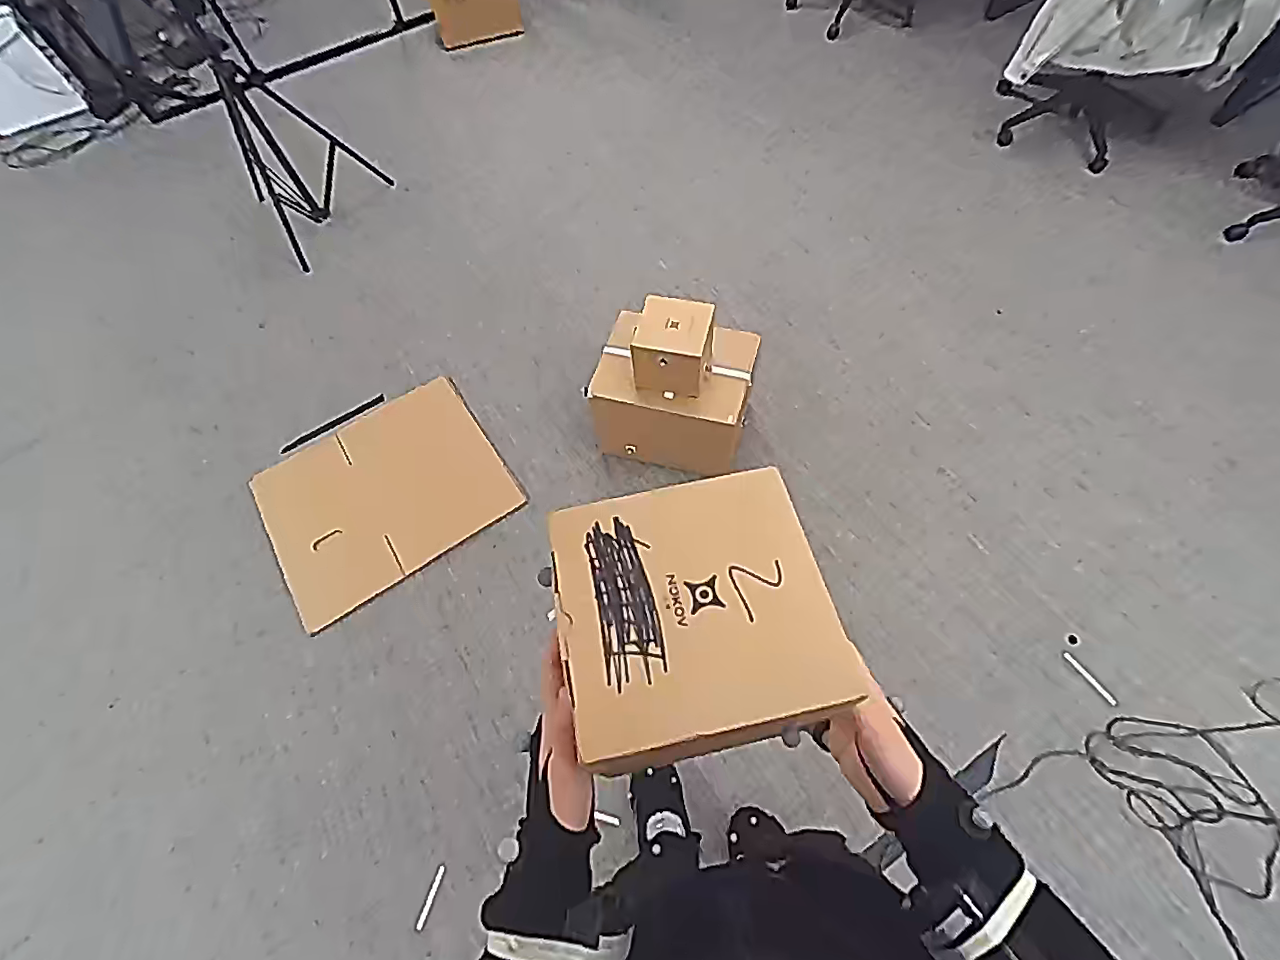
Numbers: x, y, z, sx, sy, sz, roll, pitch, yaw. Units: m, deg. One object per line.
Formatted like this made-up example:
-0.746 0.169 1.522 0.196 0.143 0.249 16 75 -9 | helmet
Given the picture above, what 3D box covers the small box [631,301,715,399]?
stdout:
0.086 -0.325 1.371 0.179 0.176 0.168 12 65 10 | small box
